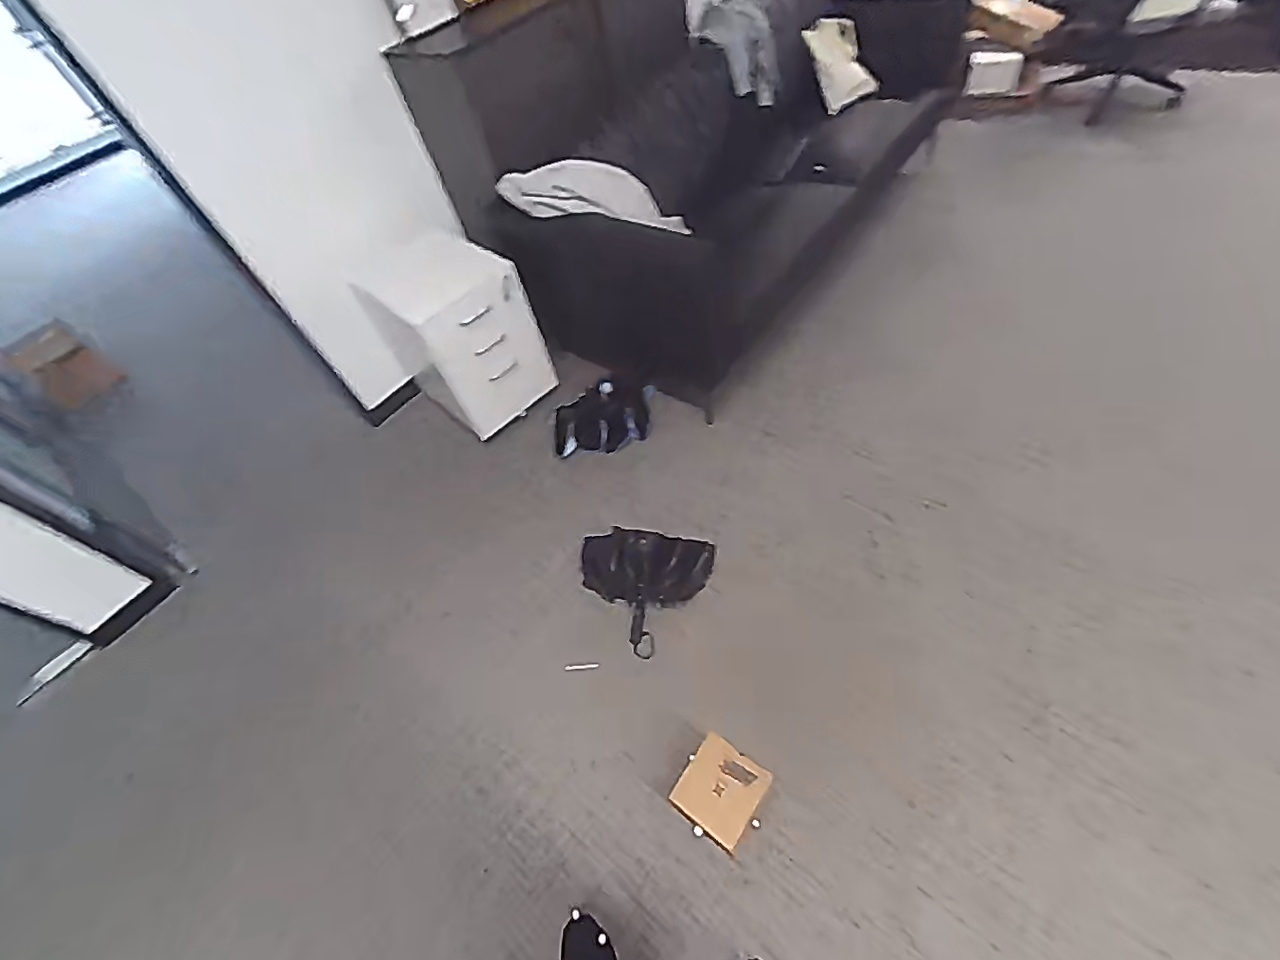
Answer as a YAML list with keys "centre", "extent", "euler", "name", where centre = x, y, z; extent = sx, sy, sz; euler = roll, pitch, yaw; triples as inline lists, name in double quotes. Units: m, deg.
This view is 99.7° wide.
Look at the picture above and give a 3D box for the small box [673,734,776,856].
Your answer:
- centre: [0.199, 0.731, 1.253]
  extent: [0.168, 0.176, 0.179]
  euler: [28, 65, 31]
  name: "small box"
